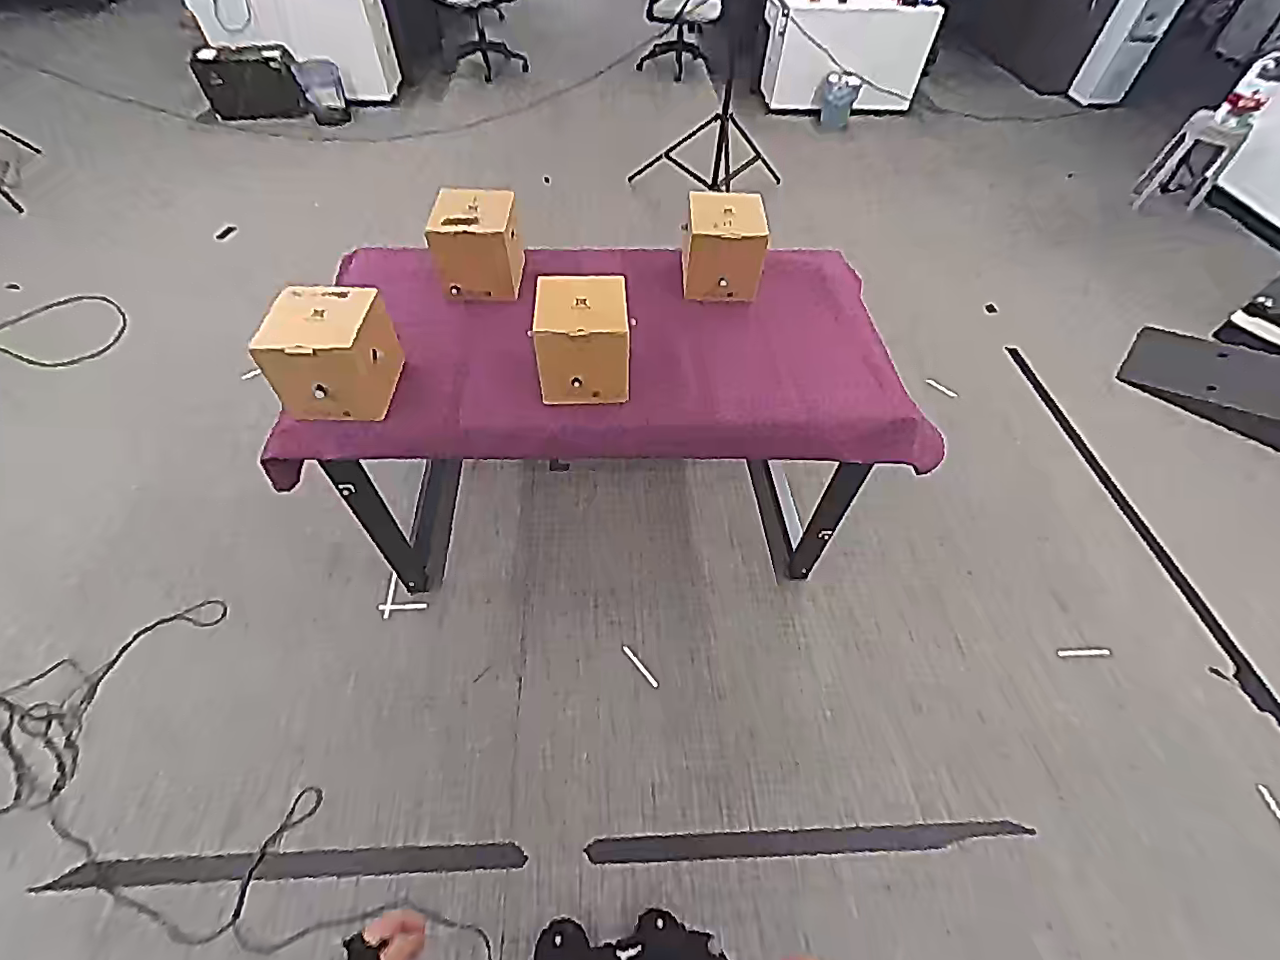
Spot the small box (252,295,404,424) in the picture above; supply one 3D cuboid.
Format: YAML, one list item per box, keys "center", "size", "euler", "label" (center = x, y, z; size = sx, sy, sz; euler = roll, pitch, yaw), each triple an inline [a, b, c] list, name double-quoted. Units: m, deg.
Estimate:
- center: [-0.552, -0.217, 0.990]
  size: [0.168, 0.176, 0.179]
  euler: [0, 53, -3]
  label: "small box"

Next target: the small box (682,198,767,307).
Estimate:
- center: [0.187, -0.528, 1.256]
  size: [0.168, 0.176, 0.179]
  euler: [1, 55, 0]
  label: "small box"

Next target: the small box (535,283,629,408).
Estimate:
- center: [-0.109, -0.258, 1.044]
  size: [0.168, 0.176, 0.179]
  euler: [-2, 52, -4]
  label: "small box"

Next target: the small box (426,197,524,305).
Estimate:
- center: [-0.362, -0.514, 1.225]
  size: [0.168, 0.176, 0.179]
  euler: [1, 53, -2]
  label: "small box"
